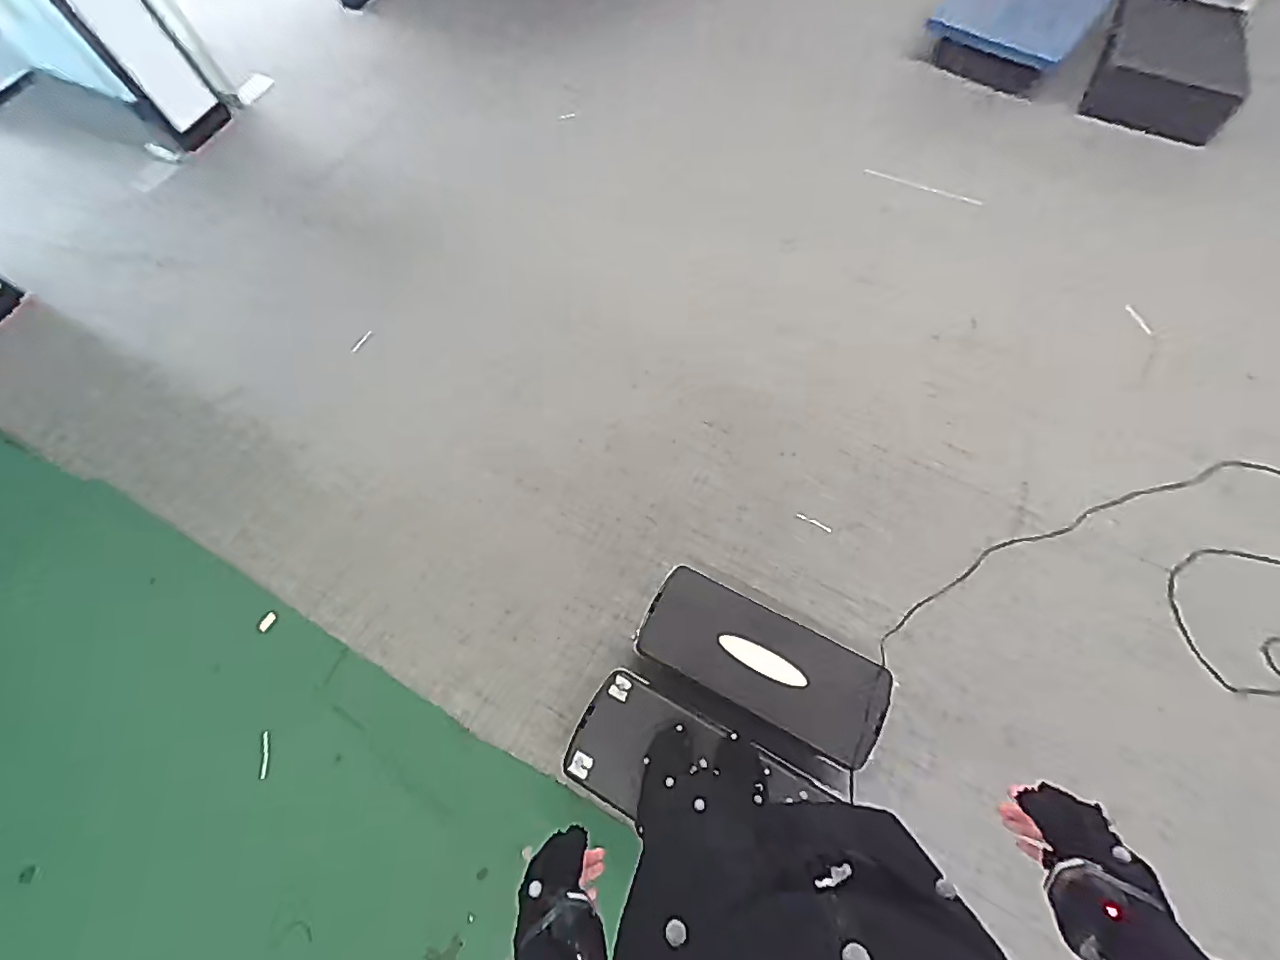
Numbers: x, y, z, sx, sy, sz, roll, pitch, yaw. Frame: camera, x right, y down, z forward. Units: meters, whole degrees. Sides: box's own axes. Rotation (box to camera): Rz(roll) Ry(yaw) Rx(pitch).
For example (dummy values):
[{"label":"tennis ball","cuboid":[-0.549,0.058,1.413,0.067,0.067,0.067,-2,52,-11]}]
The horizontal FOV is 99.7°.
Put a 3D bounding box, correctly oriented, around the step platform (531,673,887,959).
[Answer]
[{"label":"step platform","cuboid":[0.127,0.690,1.135,0.684,0.204,0.286,26,71,12]}]
